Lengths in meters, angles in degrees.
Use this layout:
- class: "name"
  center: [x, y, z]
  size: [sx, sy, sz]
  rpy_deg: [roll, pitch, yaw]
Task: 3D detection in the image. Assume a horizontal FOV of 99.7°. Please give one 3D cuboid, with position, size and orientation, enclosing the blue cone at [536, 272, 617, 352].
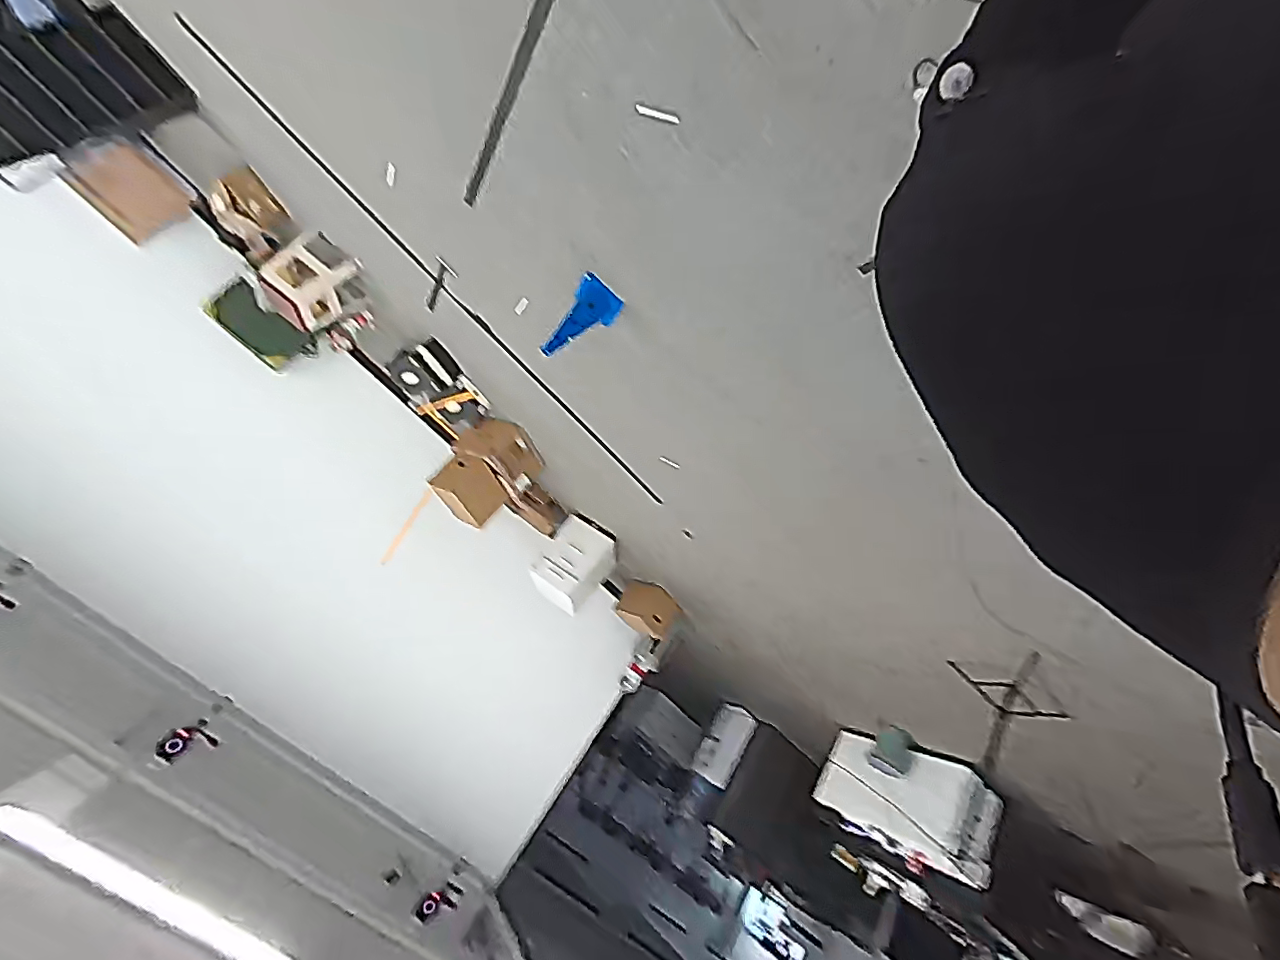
- class: "blue cone"
  center: [-0.279, -0.639, 2.181]
  size: [0.192, 0.380, 0.193]
  rpy_deg: [43, 154, -10]
